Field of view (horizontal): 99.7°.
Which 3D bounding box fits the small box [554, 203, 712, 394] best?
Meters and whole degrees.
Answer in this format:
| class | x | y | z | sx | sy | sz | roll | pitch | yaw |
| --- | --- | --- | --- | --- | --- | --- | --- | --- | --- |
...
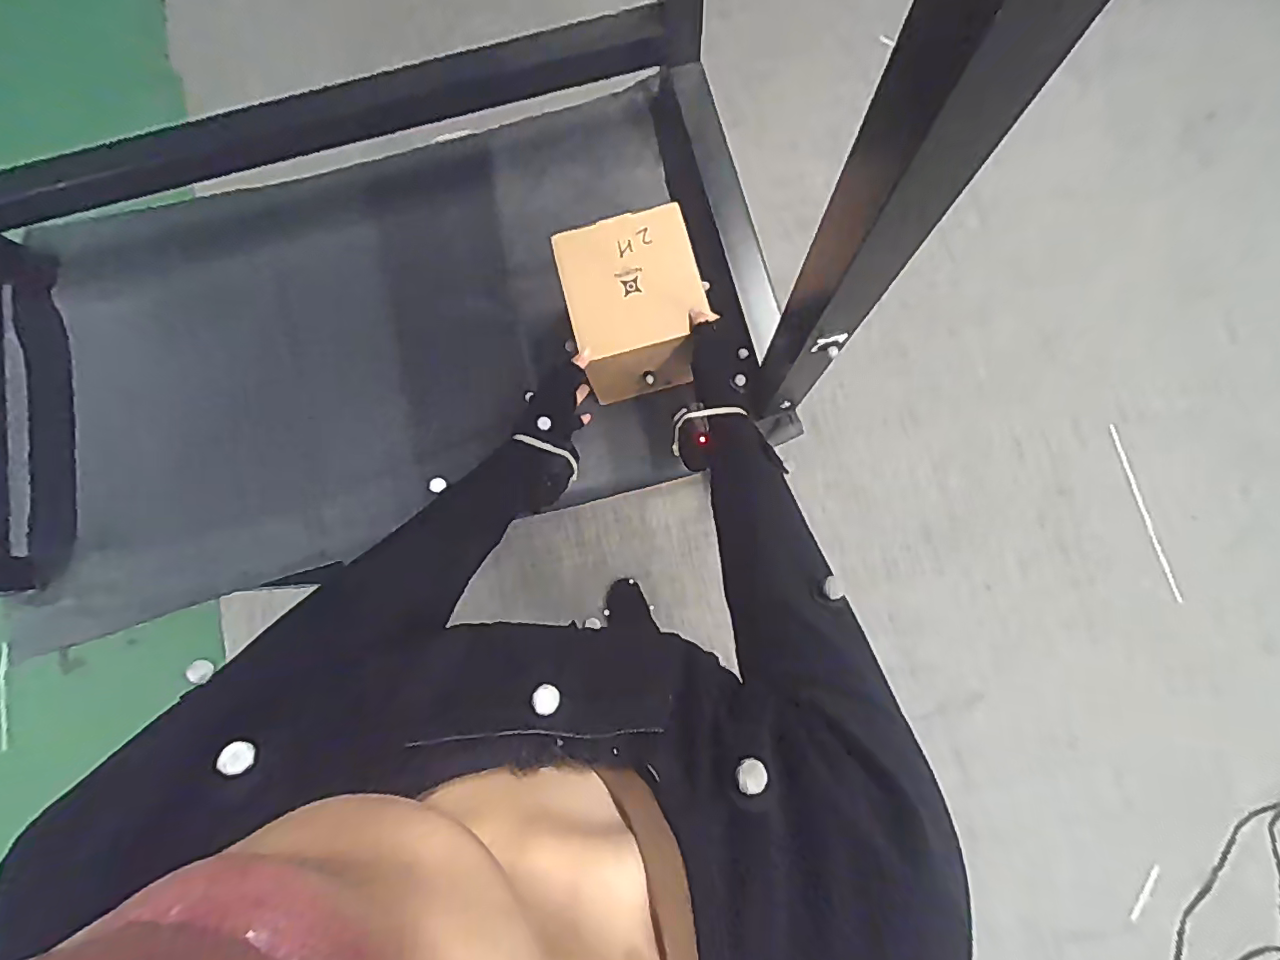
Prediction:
| class | x | y | z | sx | sy | sz | roll | pitch | yaw |
| --- | --- | --- | --- | --- | --- | --- | --- | --- | --- |
| small box | -0.004 | -0.229 | 0.735 | 0.168 | 0.176 | 0.179 | -15 | 80 | 1 |
